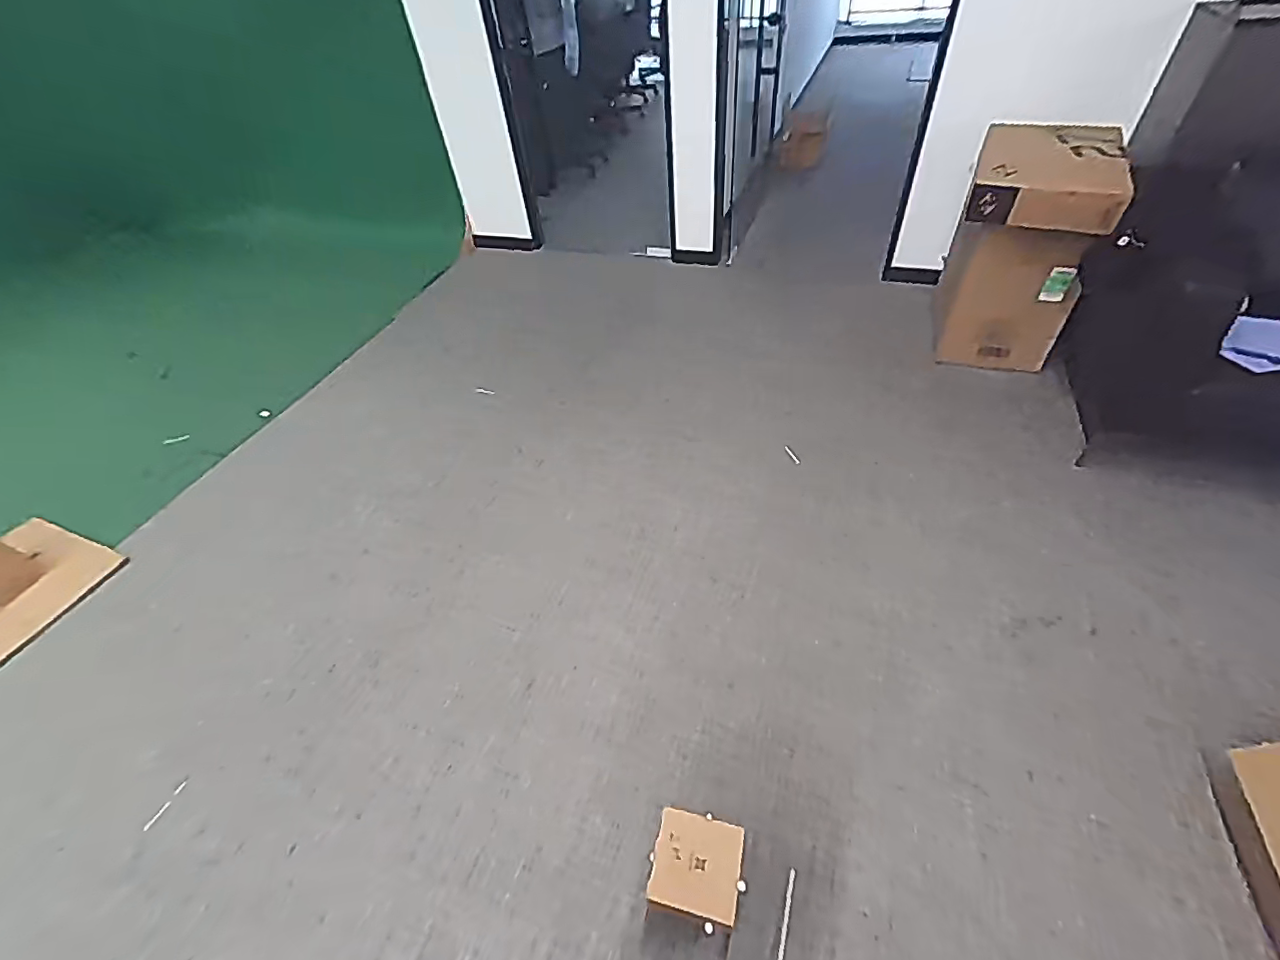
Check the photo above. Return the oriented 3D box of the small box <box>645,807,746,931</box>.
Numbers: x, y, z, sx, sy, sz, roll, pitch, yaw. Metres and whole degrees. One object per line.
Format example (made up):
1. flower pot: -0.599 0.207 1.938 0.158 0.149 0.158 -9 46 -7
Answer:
1. small box: 0.119 0.821 1.138 0.179 0.176 0.168 8 47 14
